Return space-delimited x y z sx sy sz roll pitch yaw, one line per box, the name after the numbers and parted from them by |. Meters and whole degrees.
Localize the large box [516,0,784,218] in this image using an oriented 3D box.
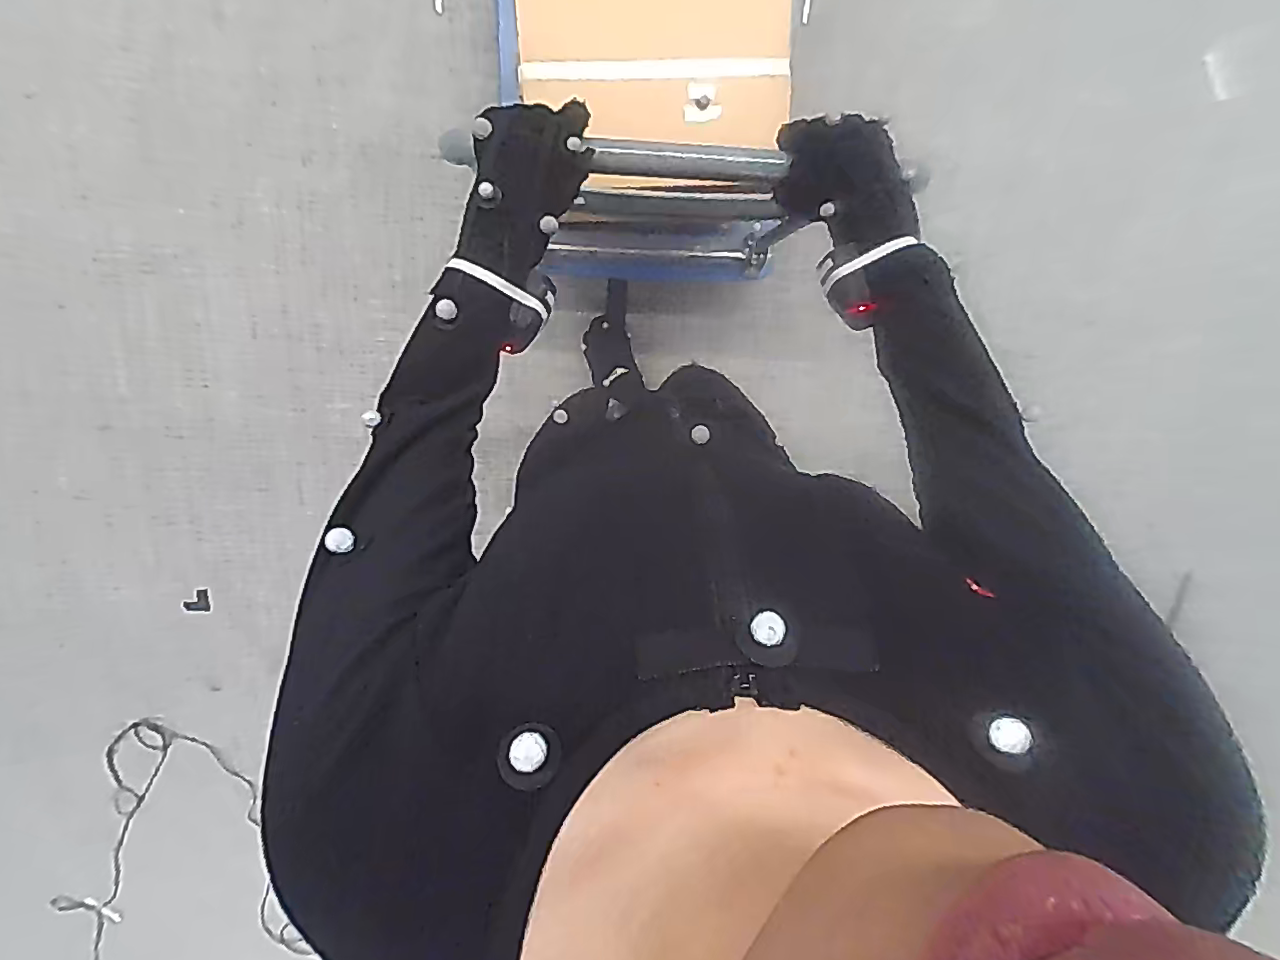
0.009 -0.669 0.962 0.408 0.320 0.320 -4 107 -4 | large box
